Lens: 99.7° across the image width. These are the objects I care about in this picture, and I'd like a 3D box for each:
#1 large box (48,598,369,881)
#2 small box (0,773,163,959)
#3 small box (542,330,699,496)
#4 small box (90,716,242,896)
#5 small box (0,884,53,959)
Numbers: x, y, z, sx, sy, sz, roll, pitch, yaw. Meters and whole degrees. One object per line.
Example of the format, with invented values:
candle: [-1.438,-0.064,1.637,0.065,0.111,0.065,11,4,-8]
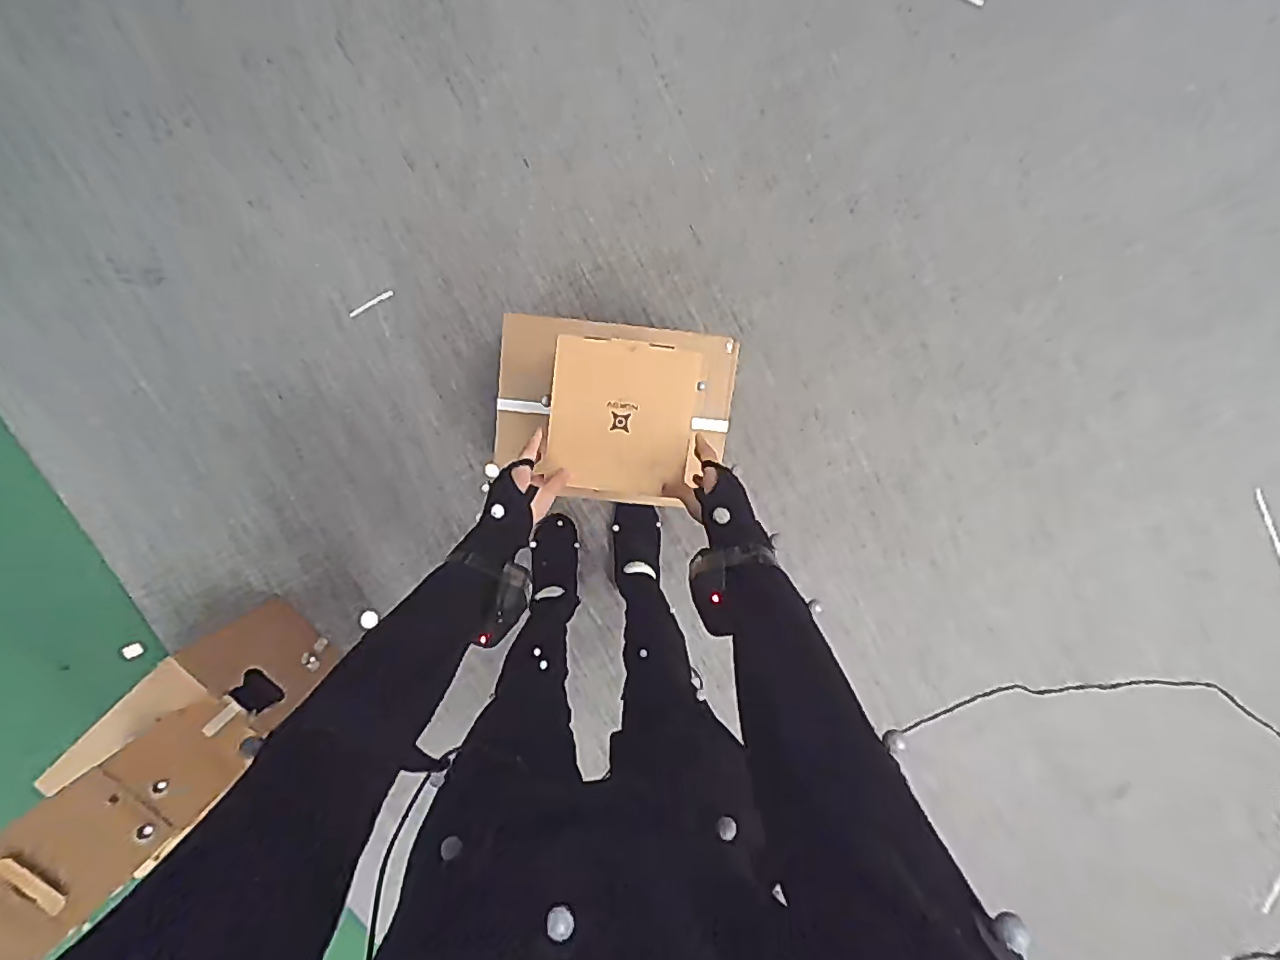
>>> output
large box: [-0.908,0.542,1.194,0.408,0.320,0.320,-42,95,6]
small box: [-0.862,0.578,0.788,0.179,0.176,0.168,-42,97,5]
small box: [-0.023,-0.085,0.700,0.168,0.176,0.179,6,97,-1]
small box: [-0.865,0.559,0.950,0.168,0.176,0.179,-41,97,5]
small box: [-0.863,0.602,0.625,0.179,0.176,0.168,-42,96,4]
